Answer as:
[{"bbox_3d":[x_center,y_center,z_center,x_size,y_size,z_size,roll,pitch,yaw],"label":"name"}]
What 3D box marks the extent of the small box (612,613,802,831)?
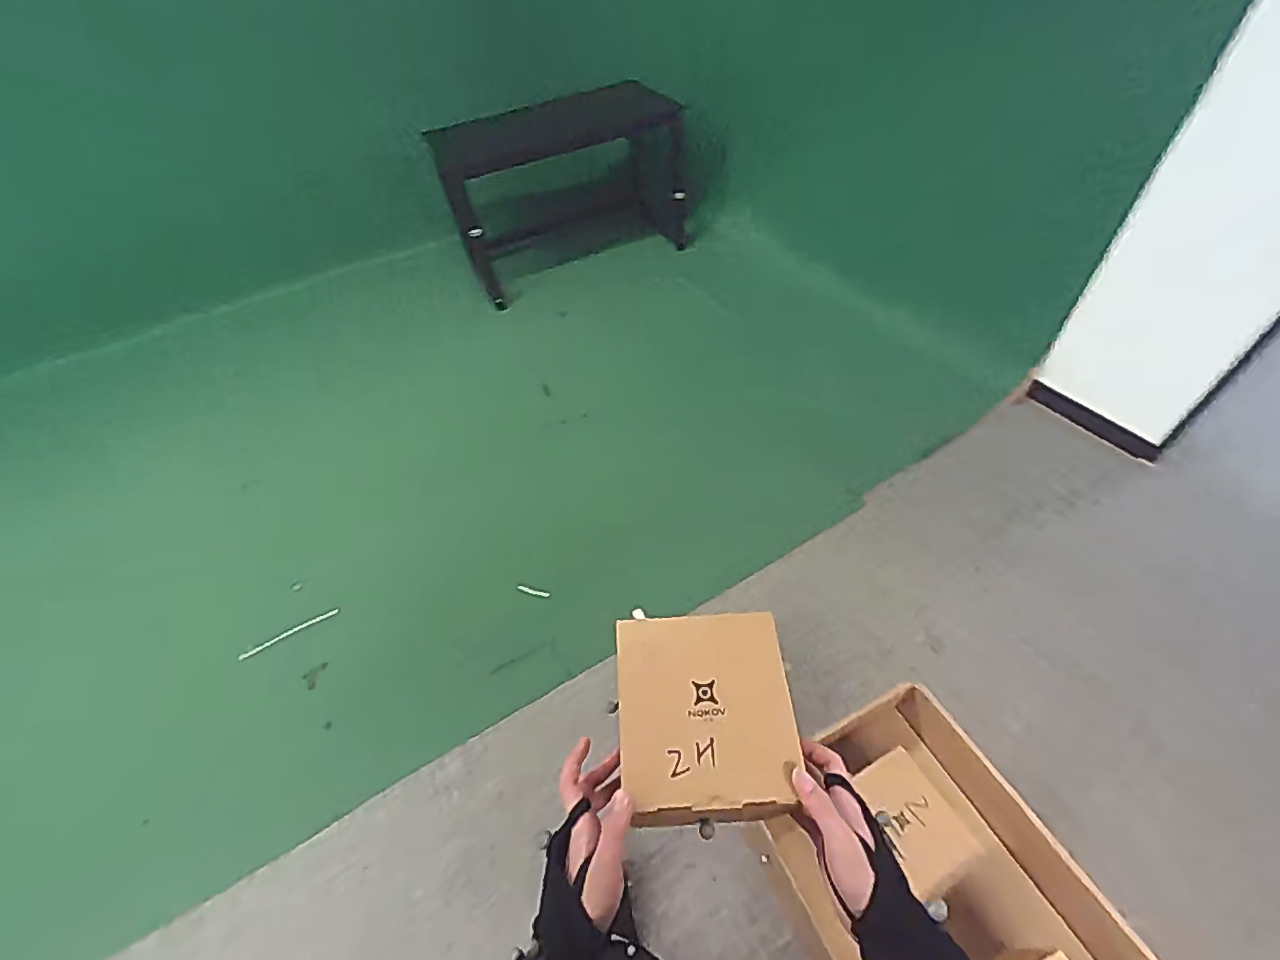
[{"bbox_3d":[0.055,0.258,0.573,0.168,0.176,0.179,-2,53,-1],"label":"small box"}]
